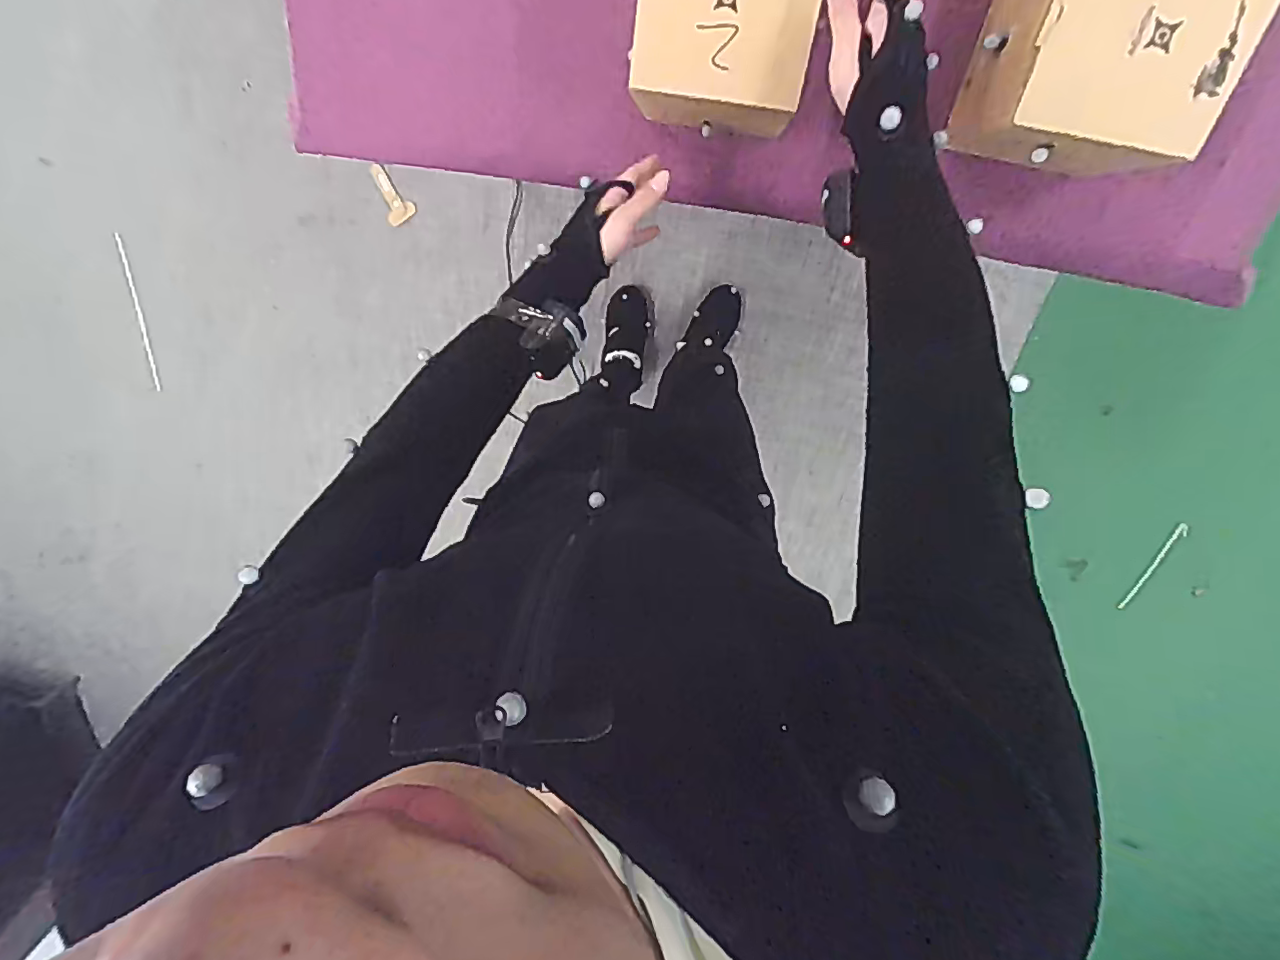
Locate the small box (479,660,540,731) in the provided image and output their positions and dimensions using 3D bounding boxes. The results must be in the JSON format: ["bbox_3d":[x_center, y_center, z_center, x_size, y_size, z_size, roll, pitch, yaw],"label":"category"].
[{"bbox_3d":[-0.492,0.811,2.052,0.179,0.176,0.168,14,117,1],"label":"small box"}]

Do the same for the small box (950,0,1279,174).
[{"bbox_3d":[0.441,-0.409,0.525,0.179,0.176,0.168,13,116,2],"label":"small box"}]
